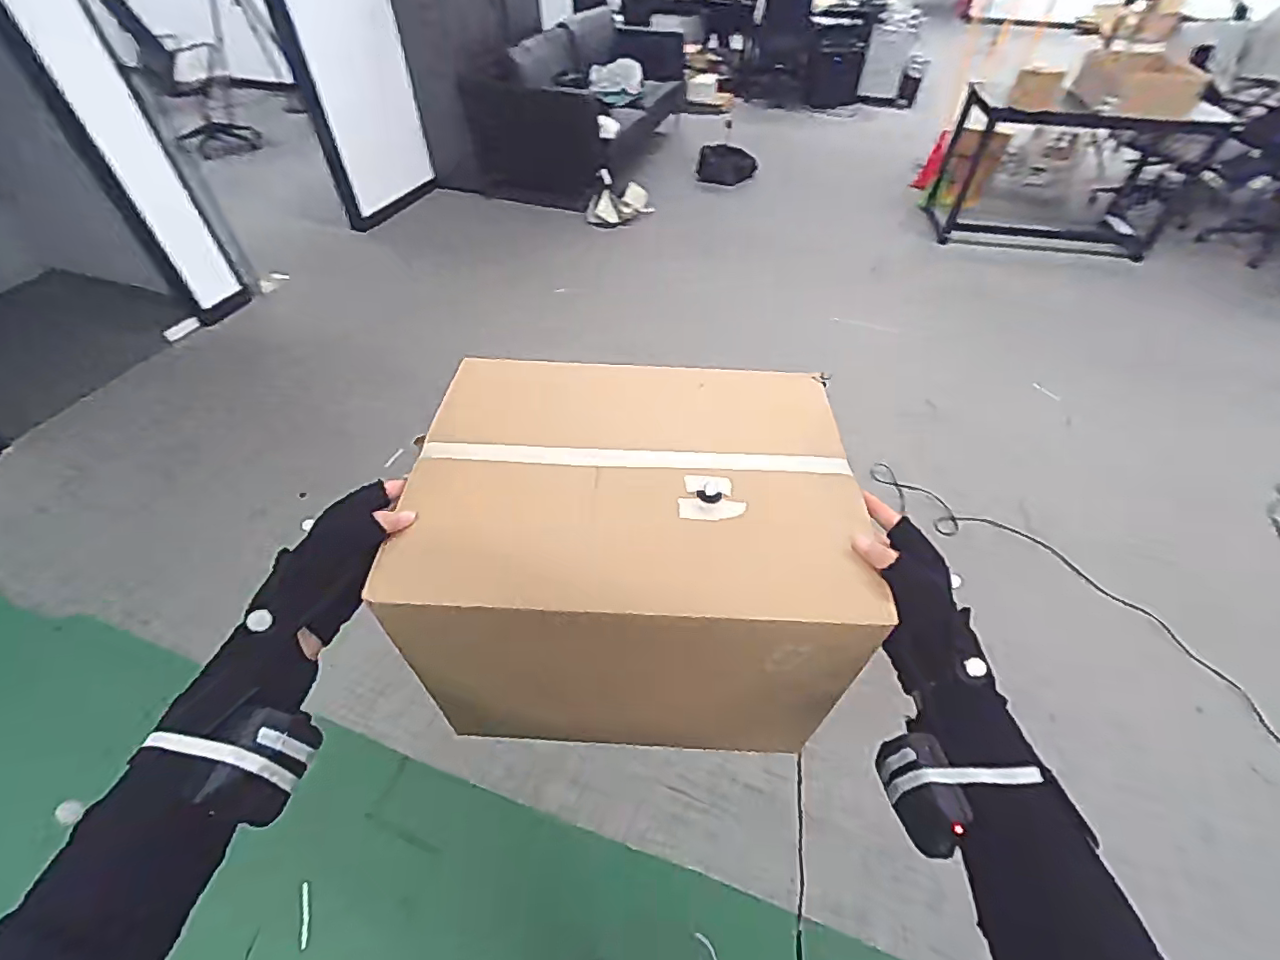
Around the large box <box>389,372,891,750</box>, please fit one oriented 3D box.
[{"bbox_3d":[-0.002,0.097,0.629,0.408,0.320,0.320,4,47,0],"label":"large box"}]
